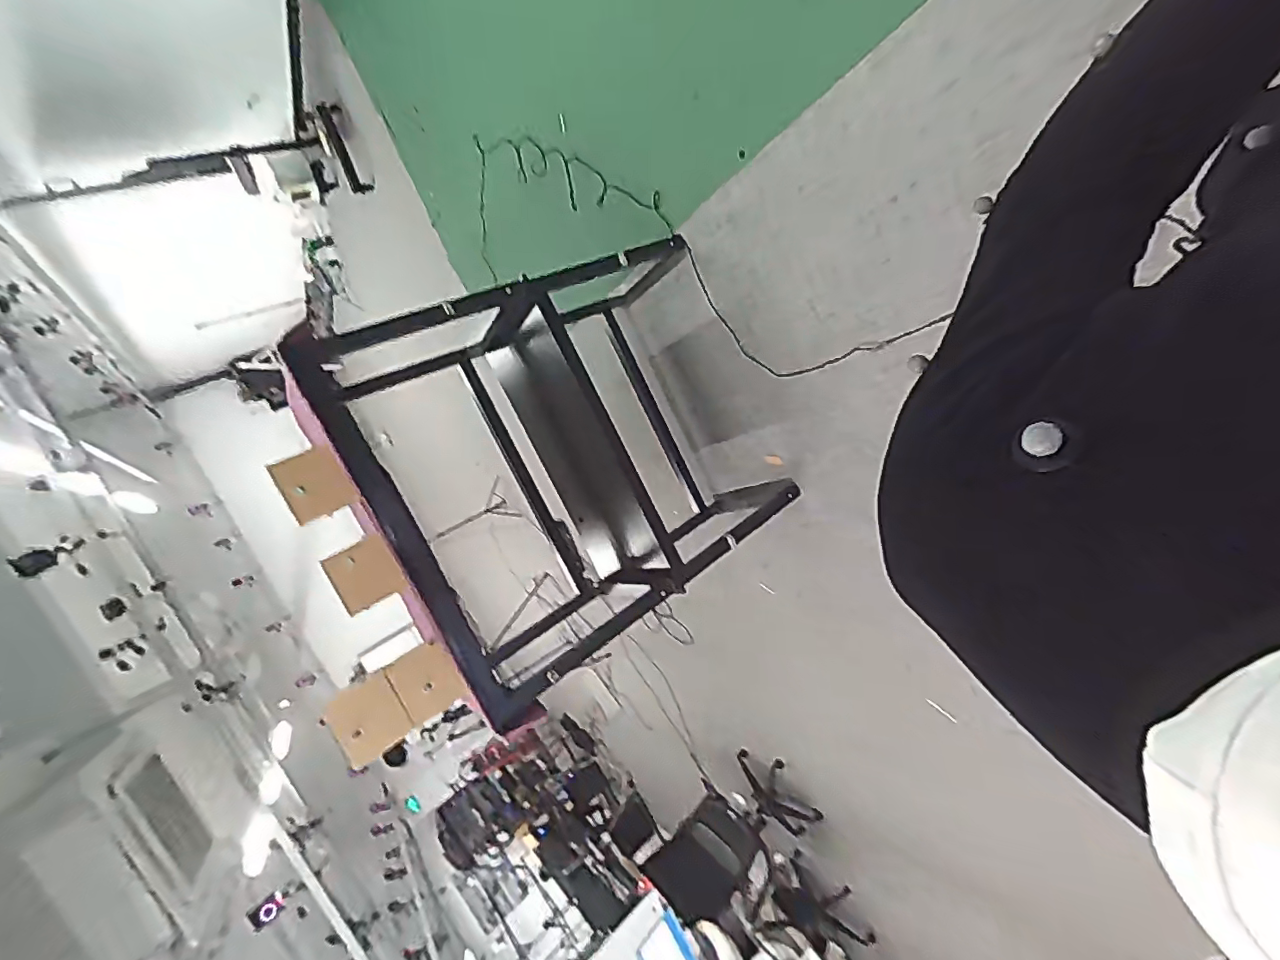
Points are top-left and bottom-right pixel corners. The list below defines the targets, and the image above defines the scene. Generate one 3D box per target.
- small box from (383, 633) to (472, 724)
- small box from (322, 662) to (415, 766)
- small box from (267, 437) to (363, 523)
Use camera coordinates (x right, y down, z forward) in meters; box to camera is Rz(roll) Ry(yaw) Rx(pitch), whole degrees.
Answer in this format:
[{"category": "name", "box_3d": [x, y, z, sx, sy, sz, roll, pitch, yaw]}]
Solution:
[{"category": "small box", "box_3d": [-0.614, 0.561, 1.559, 0.168, 0.176, 0.179, -20, 100, 60]}, {"category": "small box", "box_3d": [-0.740, 0.631, 1.479, 0.168, 0.176, 0.179, -16, 101, 59]}, {"category": "small box", "box_3d": [-0.892, 0.002, 1.493, 0.168, 0.176, 0.179, -13, 105, 57]}]
